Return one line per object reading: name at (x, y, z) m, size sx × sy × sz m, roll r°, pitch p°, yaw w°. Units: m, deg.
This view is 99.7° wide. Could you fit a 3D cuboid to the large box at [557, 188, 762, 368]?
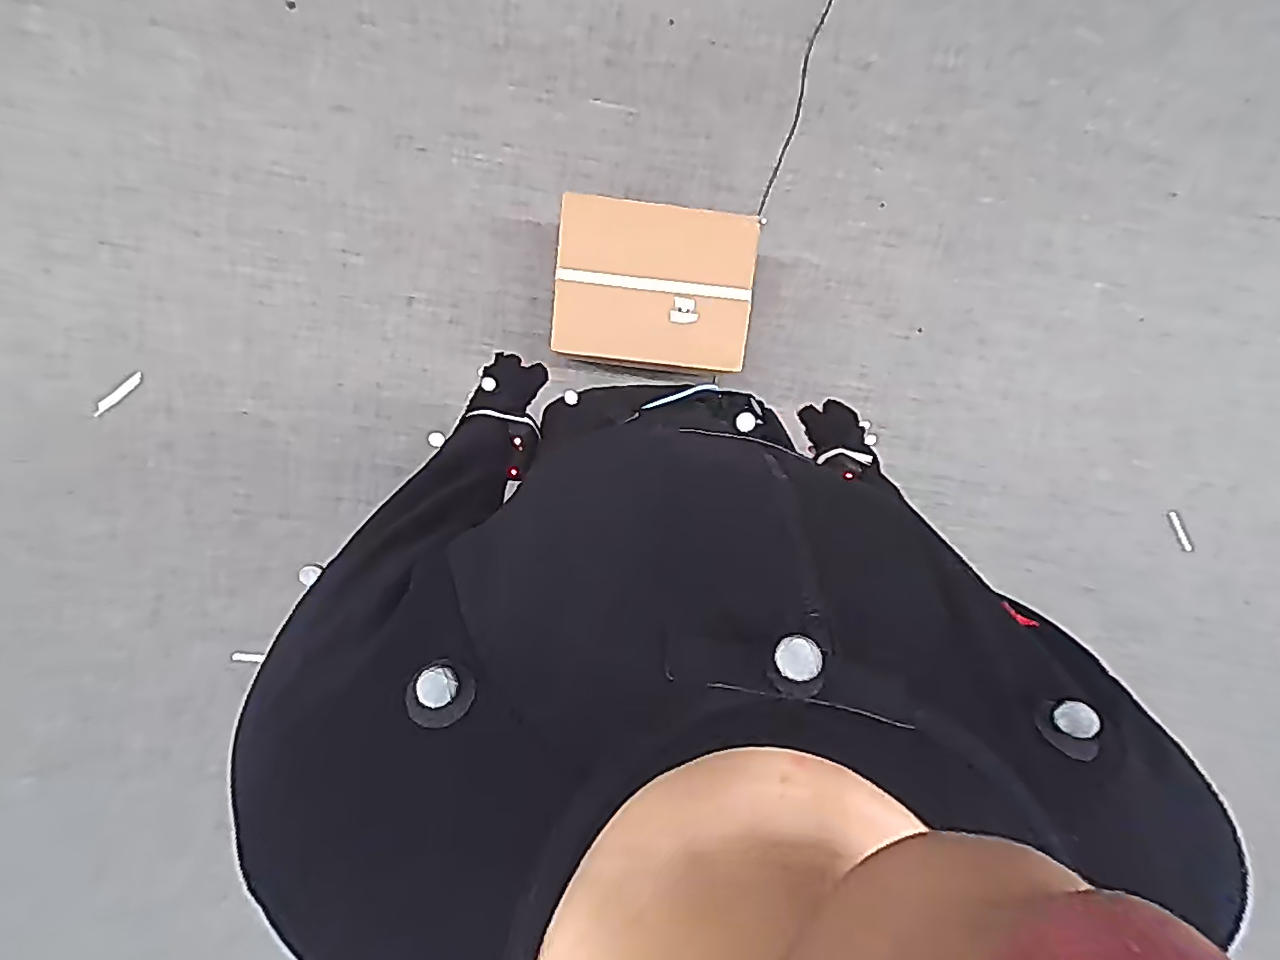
large box at (0.029, -0.440, 1.260) m, size 0.408 × 0.320 × 0.320 m, roll 6°, pitch 101°, yaw -4°
